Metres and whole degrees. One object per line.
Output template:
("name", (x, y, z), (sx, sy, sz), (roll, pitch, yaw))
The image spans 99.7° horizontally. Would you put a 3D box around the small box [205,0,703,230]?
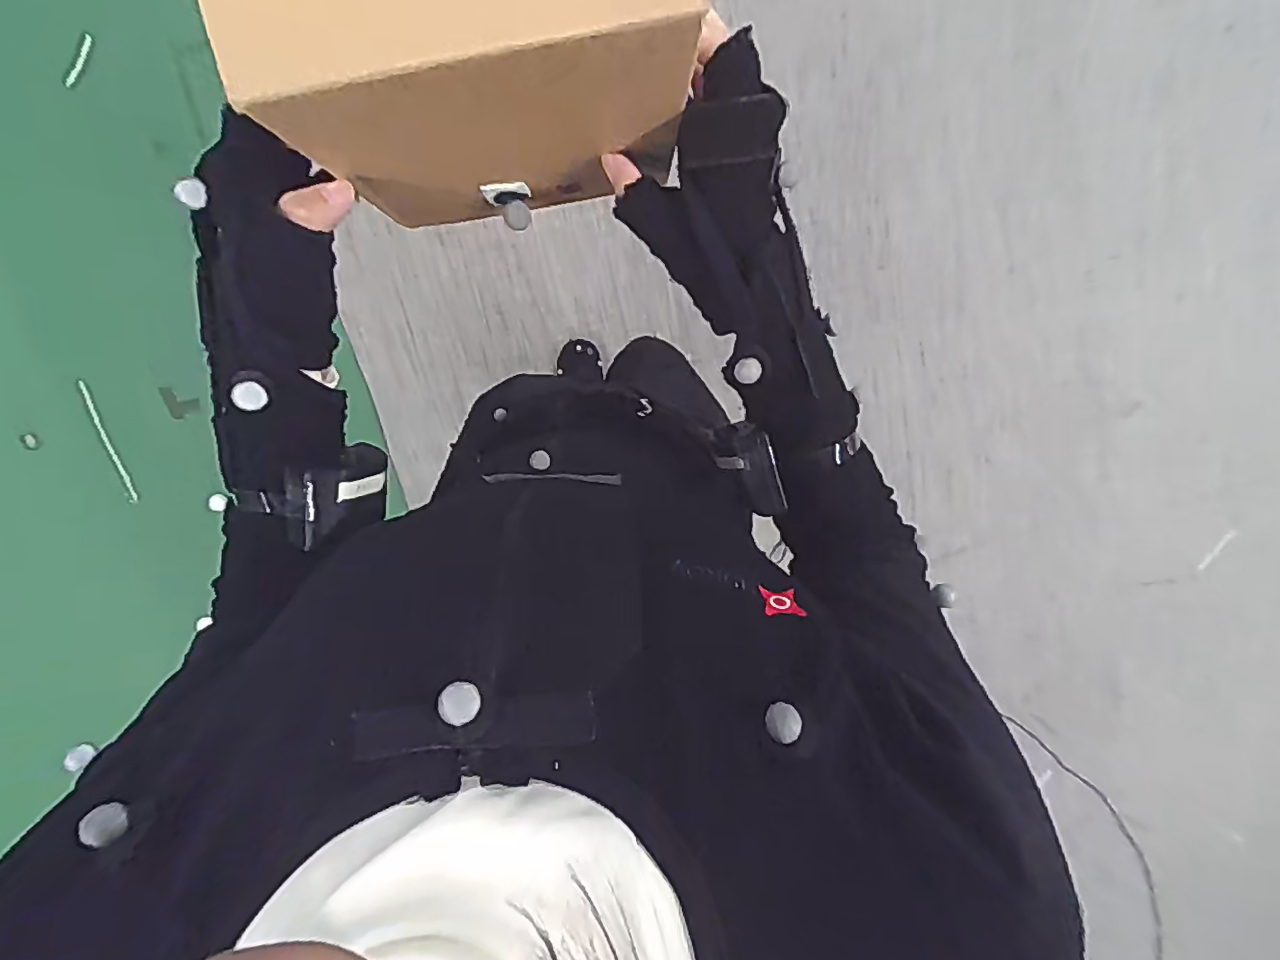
("small box", (-0.075, -0.241, 0.247), (0.168, 0.176, 0.179), (-12, 101, 2))
